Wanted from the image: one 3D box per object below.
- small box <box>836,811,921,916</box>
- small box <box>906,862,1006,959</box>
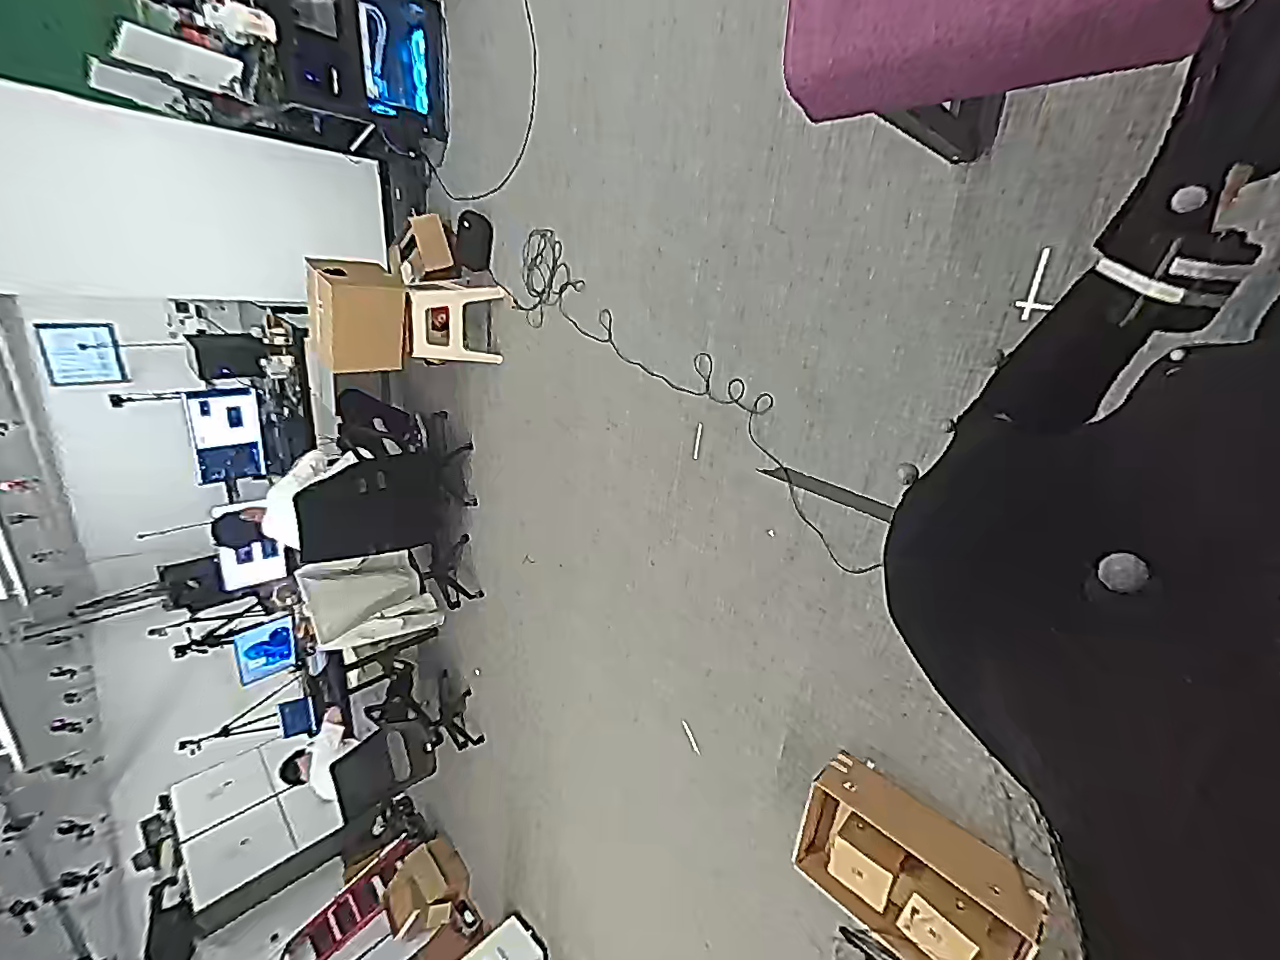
[{"bbox_3d":[0.734,1.164,1.664,0.179,0.176,0.168,19,116,40],"label":"small box"},{"bbox_3d":[0.888,1.236,1.517,0.179,0.176,0.168,29,120,39],"label":"small box"}]
